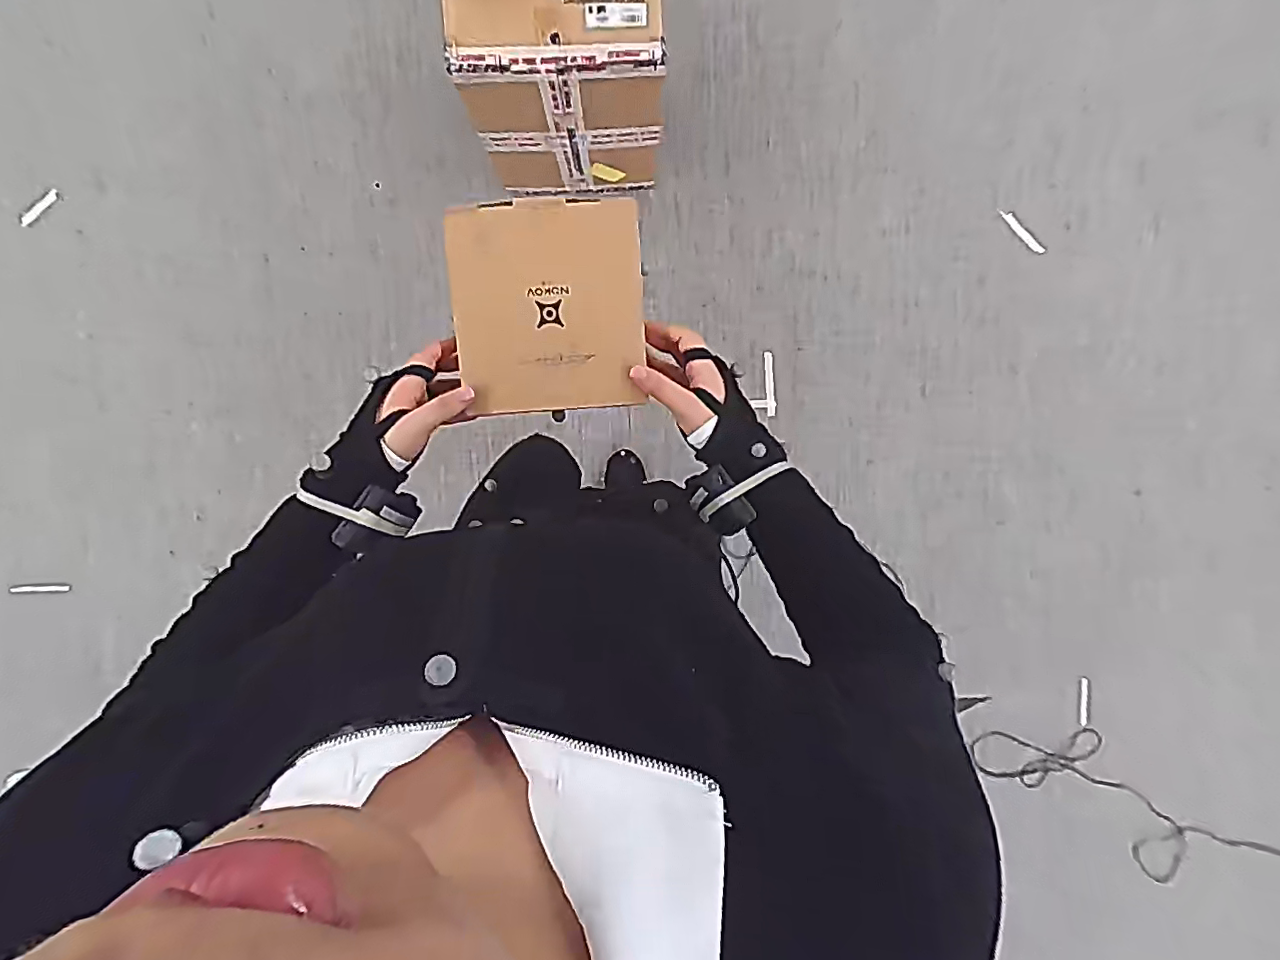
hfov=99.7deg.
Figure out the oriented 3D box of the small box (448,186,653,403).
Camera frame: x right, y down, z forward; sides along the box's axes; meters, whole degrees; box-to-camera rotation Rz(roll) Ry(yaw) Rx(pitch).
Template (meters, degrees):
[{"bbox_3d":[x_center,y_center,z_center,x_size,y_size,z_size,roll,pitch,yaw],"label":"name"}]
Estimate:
[{"bbox_3d":[-0.079,-0.173,0.547,0.168,0.176,0.179,-5,102,-2],"label":"small box"}]
